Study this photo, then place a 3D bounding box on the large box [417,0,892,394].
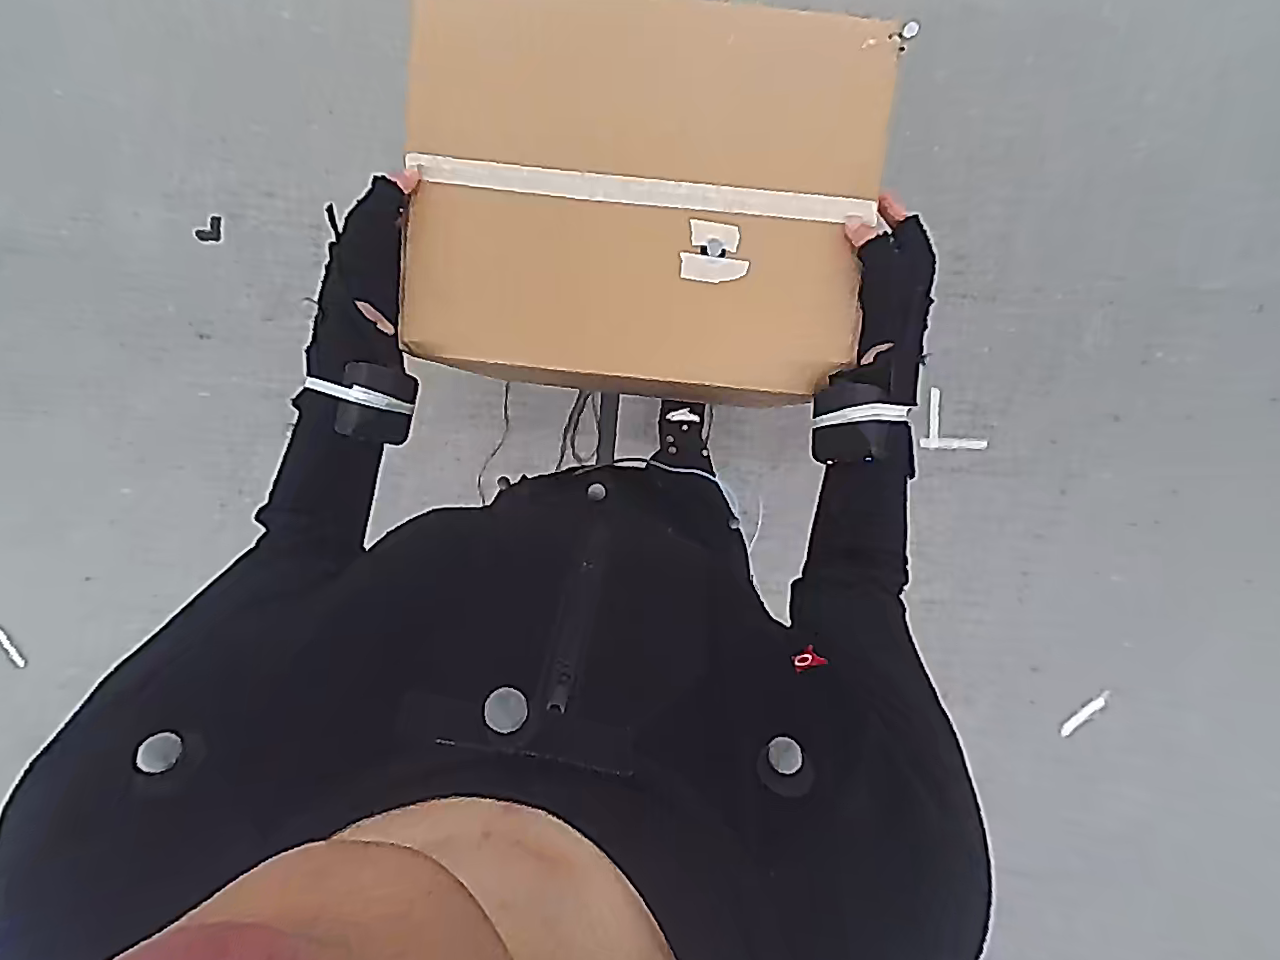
[{"bbox_3d":[0.004,-0.277,0.625,0.408,0.320,0.320,6,97,-1],"label":"large box"}]
